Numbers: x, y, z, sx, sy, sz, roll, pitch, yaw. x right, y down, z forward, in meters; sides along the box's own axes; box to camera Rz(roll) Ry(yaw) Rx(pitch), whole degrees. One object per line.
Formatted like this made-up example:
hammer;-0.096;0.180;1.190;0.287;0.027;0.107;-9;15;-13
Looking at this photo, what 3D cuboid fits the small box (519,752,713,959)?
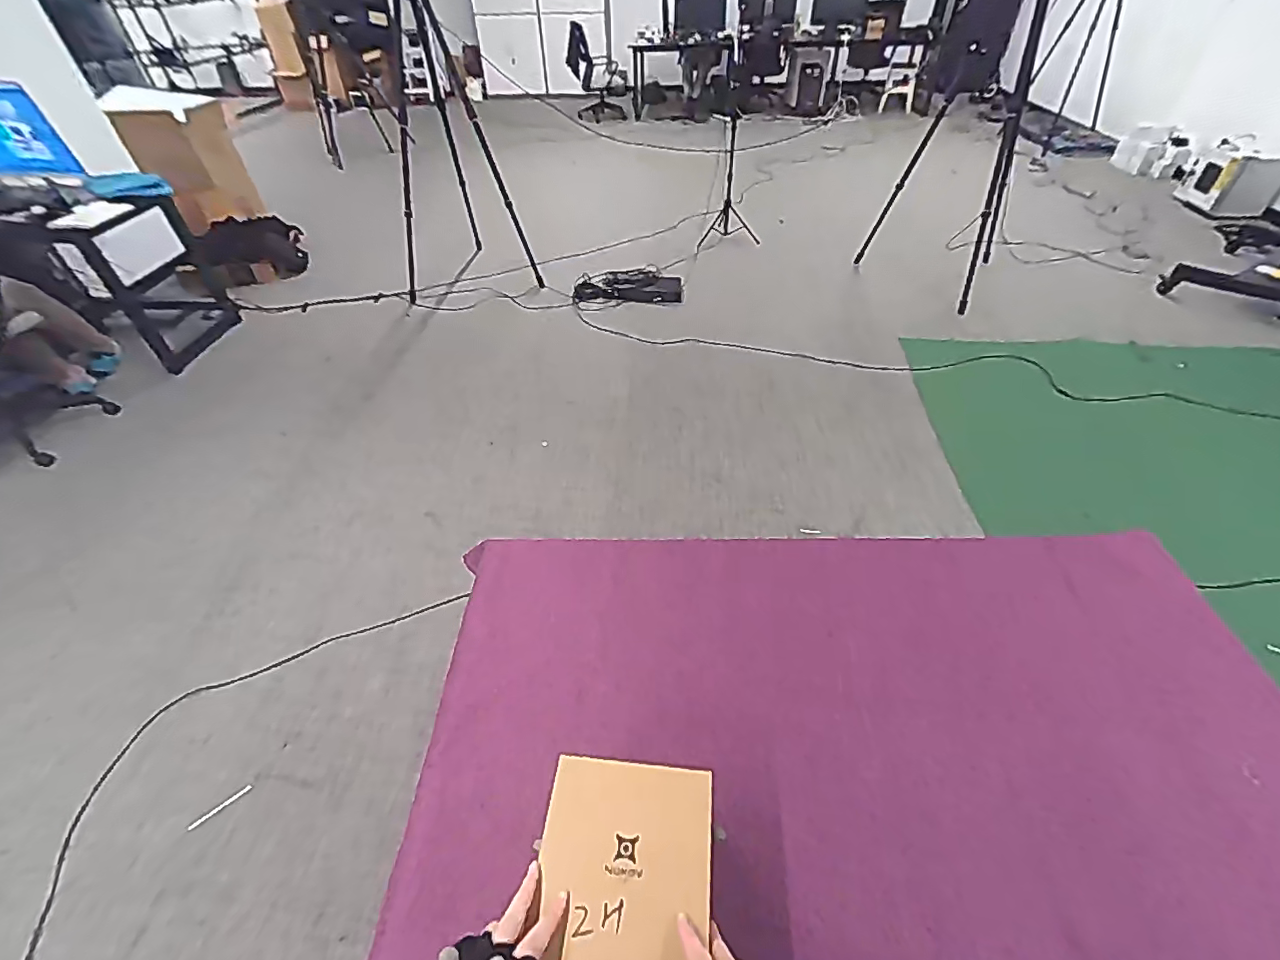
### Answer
small box;-0.013;0.417;0.569;0.168;0.176;0.179;3;43;6
